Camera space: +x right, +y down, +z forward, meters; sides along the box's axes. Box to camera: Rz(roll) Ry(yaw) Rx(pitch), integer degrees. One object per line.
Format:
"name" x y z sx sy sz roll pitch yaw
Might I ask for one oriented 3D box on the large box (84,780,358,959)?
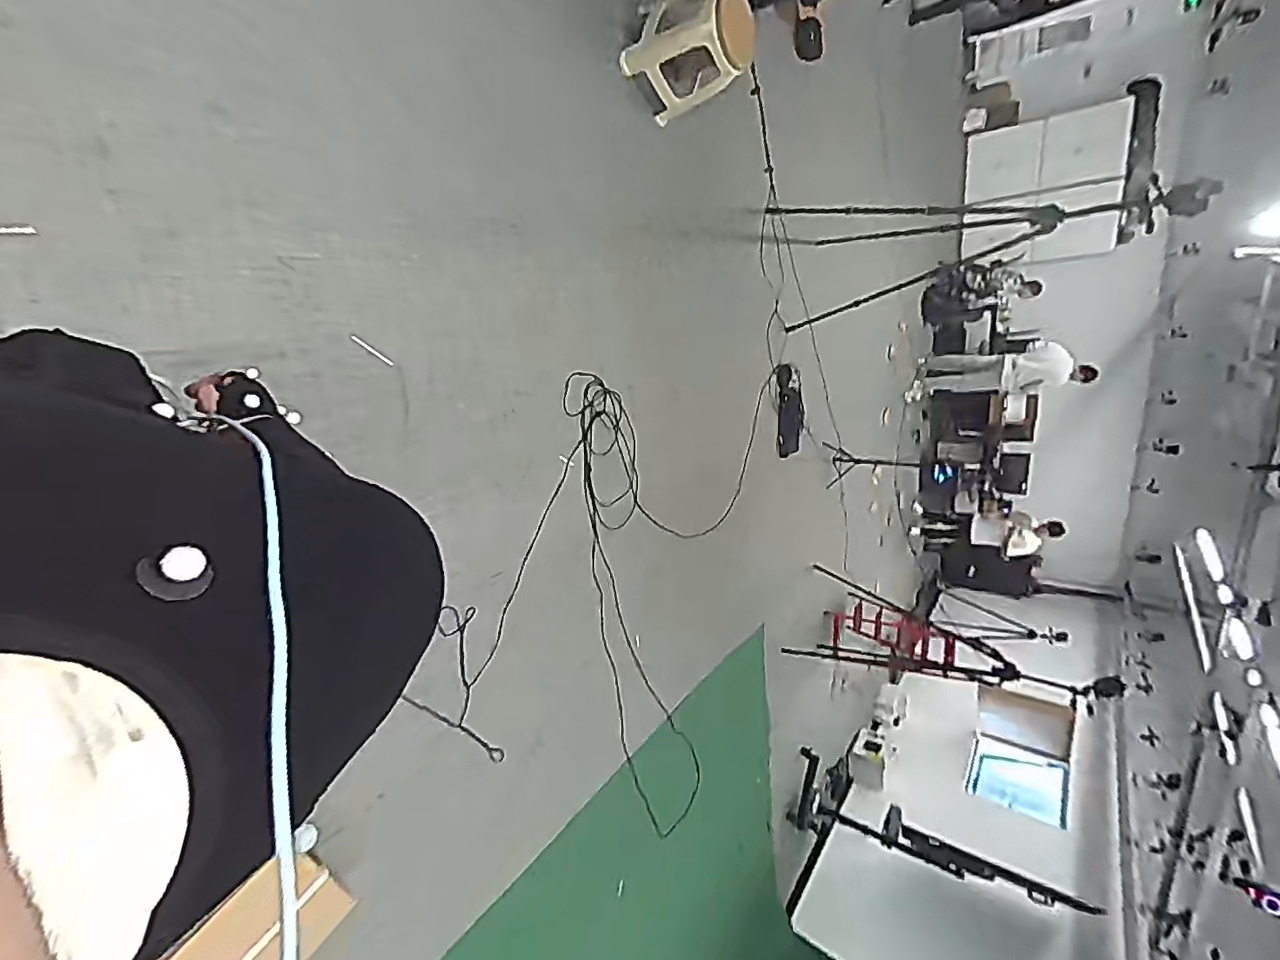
"large box" -1.020 1.066 1.346 0.408 0.320 0.320 -43 126 -38
